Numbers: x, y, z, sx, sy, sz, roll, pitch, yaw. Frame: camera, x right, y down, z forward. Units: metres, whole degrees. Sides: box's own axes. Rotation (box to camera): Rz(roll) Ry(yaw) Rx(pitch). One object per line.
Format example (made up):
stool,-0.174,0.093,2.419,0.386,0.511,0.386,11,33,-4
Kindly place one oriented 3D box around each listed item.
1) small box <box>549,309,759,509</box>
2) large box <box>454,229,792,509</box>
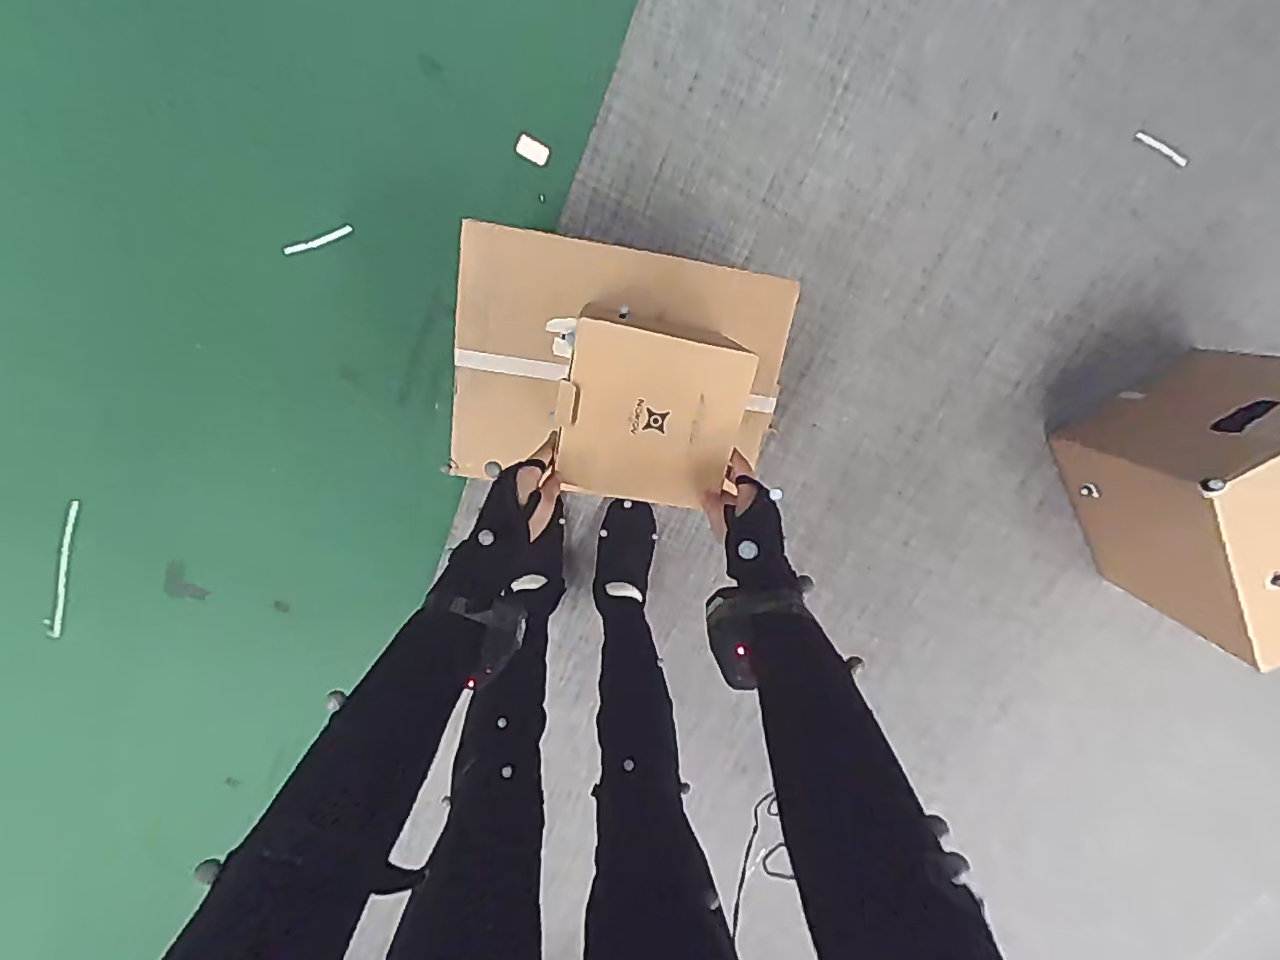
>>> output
small box,0.007,-0.088,0.597,0.179,0.176,0.168,10,110,-7
large box,-0.033,-0.173,0.825,0.408,0.320,0.320,8,108,-4
